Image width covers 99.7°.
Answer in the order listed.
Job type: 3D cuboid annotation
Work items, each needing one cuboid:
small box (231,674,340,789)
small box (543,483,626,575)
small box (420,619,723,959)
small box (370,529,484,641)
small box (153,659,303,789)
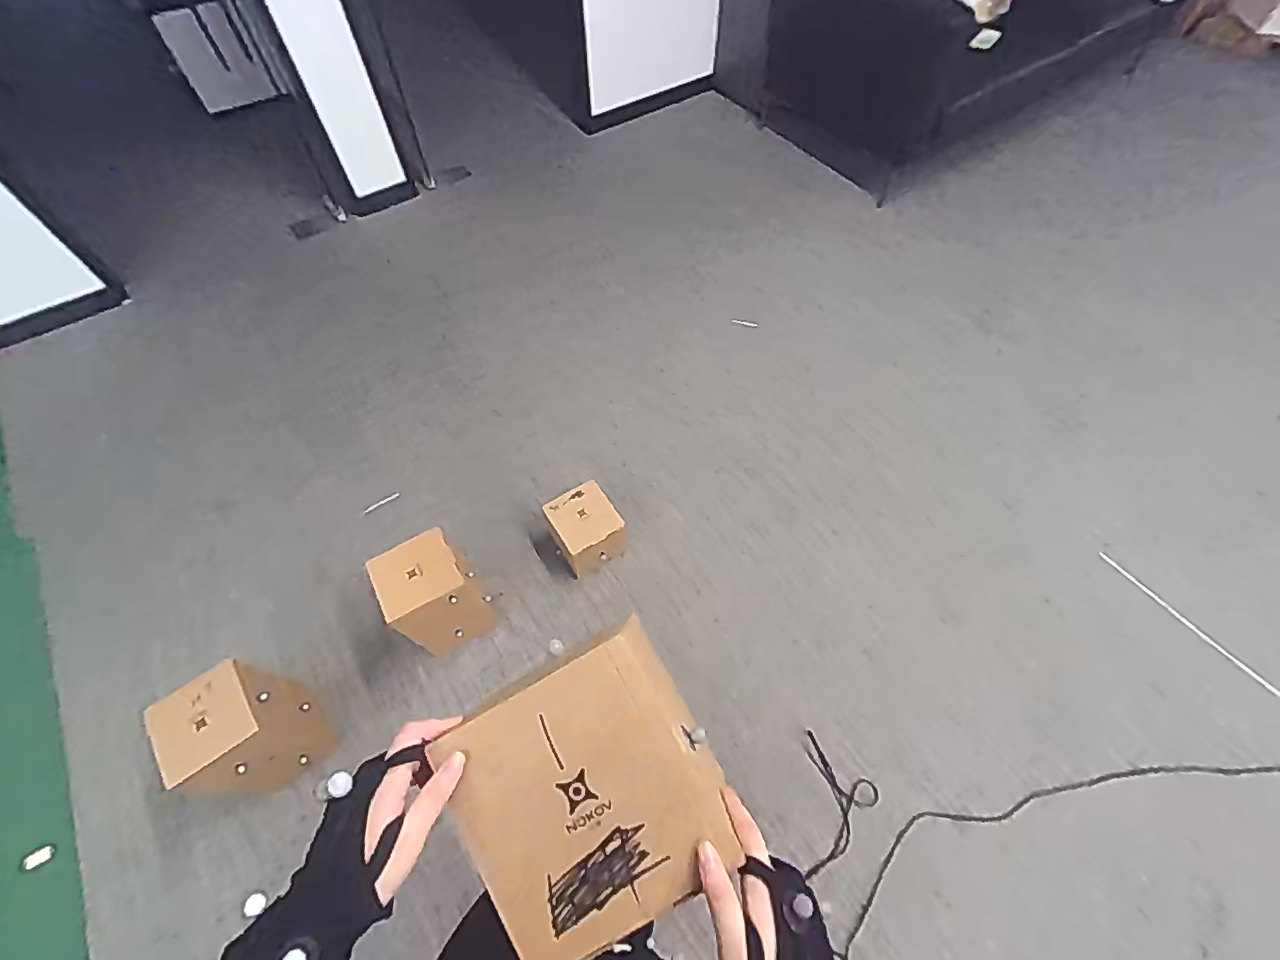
[{"bbox_3d":[-0.837,0.587,1.257,0.168,0.176,0.179,-32,63,-18],"label":"small box"},{"bbox_3d":[-0.149,0.146,1.518,0.168,0.176,0.179,-28,63,-16],"label":"small box"},{"bbox_3d":[-0.046,0.239,0.465,0.168,0.176,0.179,-30,80,-2],"label":"small box"},{"bbox_3d":[-0.493,0.251,1.266,0.179,0.176,0.168,-27,62,-15],"label":"small box"},{"bbox_3d":[-0.837,0.504,1.115,0.168,0.176,0.179,-33,64,-19],"label":"small box"}]
